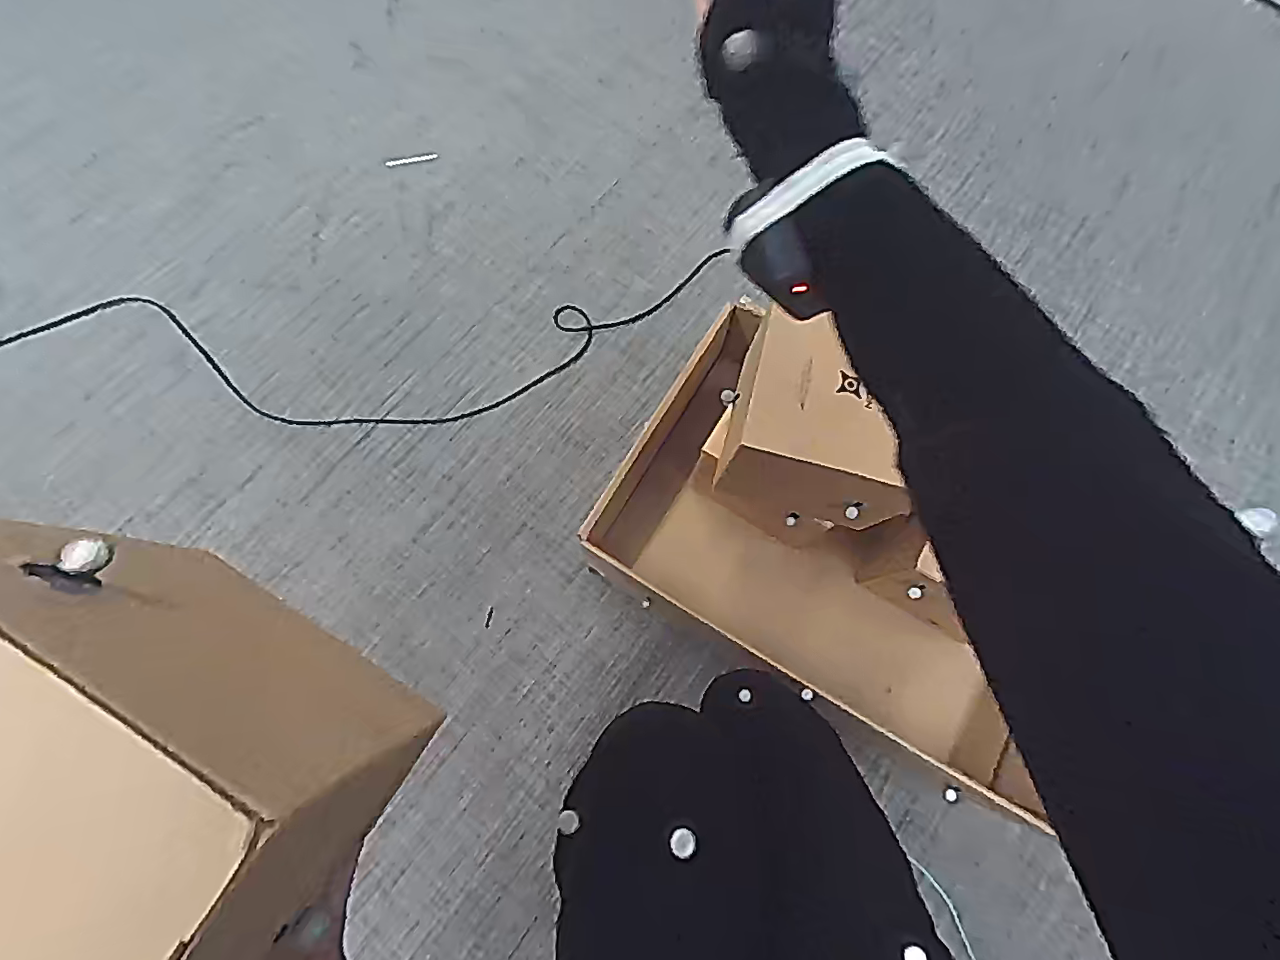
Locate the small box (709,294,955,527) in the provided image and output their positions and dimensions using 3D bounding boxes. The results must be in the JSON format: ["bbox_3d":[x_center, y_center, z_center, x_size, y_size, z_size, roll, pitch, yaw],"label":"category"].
[{"bbox_3d":[0.182,-0.056,0.557,0.179,0.176,0.168,15,75,3],"label":"small box"}]

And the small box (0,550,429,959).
[{"bbox_3d":[-0.224,0.143,0.218,0.179,0.176,0.168,32,77,4],"label":"small box"}]

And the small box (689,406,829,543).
[{"bbox_3d":[0.181,-0.031,0.719,0.179,0.176,0.168,31,77,6],"label":"small box"}]
